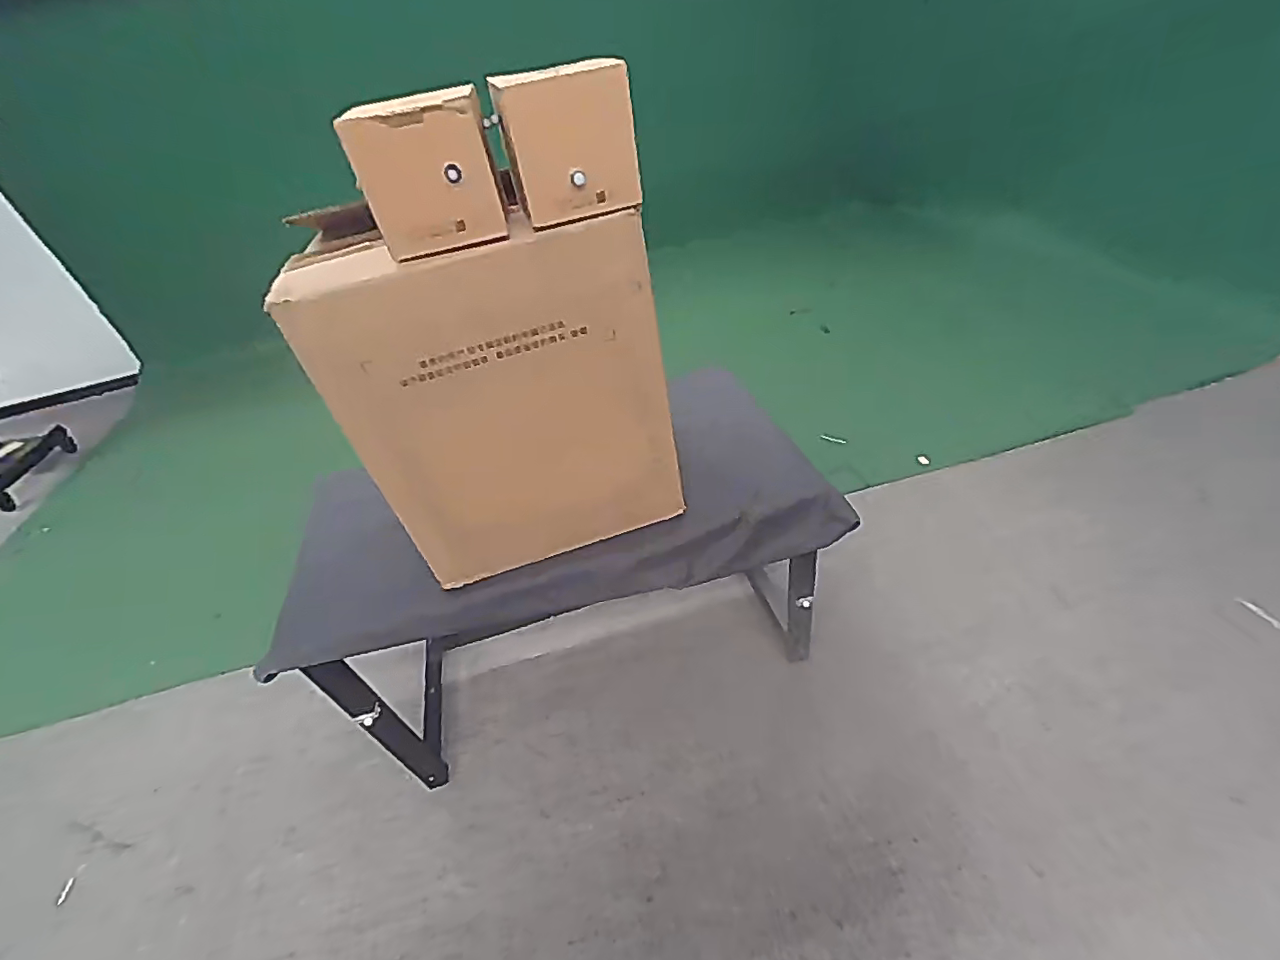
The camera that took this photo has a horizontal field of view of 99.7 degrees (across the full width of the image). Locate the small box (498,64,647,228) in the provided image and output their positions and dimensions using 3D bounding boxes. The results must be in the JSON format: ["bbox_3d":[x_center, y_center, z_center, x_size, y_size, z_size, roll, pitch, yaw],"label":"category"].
[{"bbox_3d":[-0.098,-0.486,0.787,0.168,0.176,0.179,-17,42,-7],"label":"small box"}]
